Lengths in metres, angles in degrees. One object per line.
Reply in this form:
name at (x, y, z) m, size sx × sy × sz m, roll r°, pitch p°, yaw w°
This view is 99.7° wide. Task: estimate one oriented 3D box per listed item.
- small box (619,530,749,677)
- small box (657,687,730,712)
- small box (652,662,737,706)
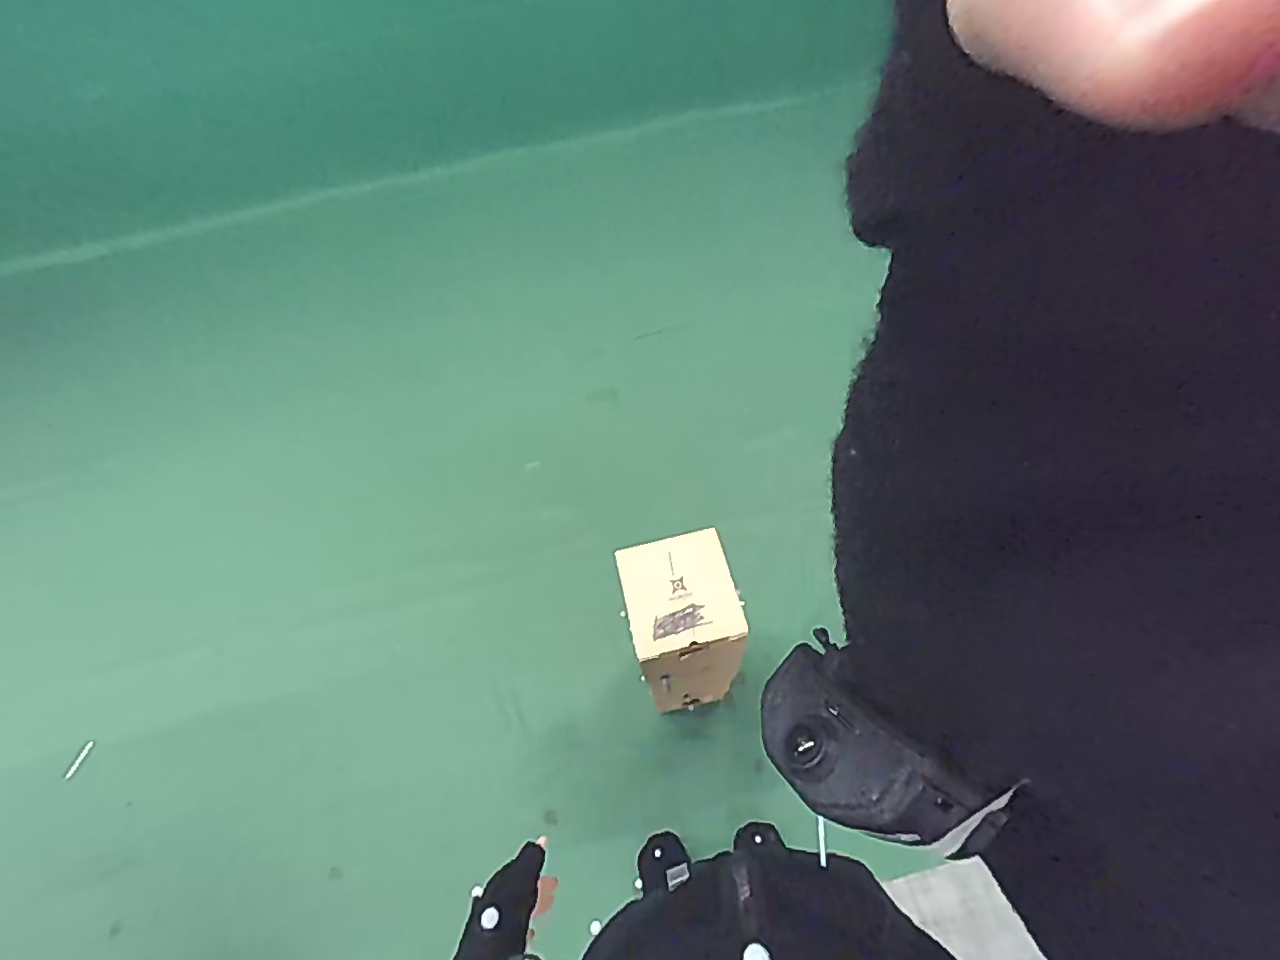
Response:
small box at (0.070, 0.209, 0.879) m, size 0.168 × 0.176 × 0.179 m, roll -13°, pitch 58°, yaw -2°
small box at (0.112, 0.445, 1.309) m, size 0.168 × 0.176 × 0.179 m, roll -12°, pitch 59°, yaw 0°
small box at (0.099, 0.368, 1.166) m, size 0.168 × 0.176 × 0.179 m, roll -14°, pitch 60°, yaw -3°
